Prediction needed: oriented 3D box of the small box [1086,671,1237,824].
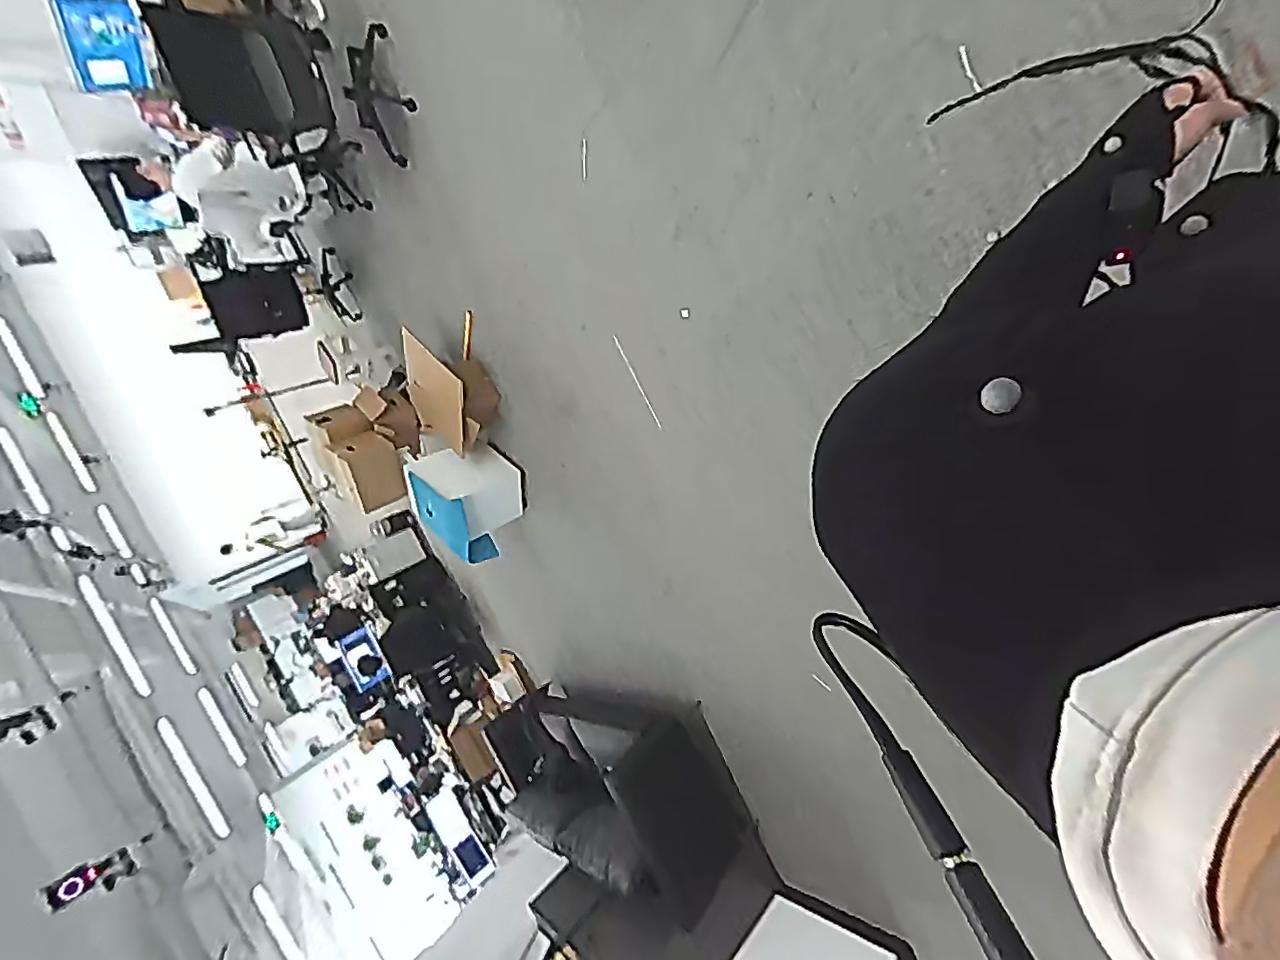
[{"bbox_3d":[0.999,0.498,1.034,0.168,0.176,0.179,-13,101,54],"label":"small box"}]
